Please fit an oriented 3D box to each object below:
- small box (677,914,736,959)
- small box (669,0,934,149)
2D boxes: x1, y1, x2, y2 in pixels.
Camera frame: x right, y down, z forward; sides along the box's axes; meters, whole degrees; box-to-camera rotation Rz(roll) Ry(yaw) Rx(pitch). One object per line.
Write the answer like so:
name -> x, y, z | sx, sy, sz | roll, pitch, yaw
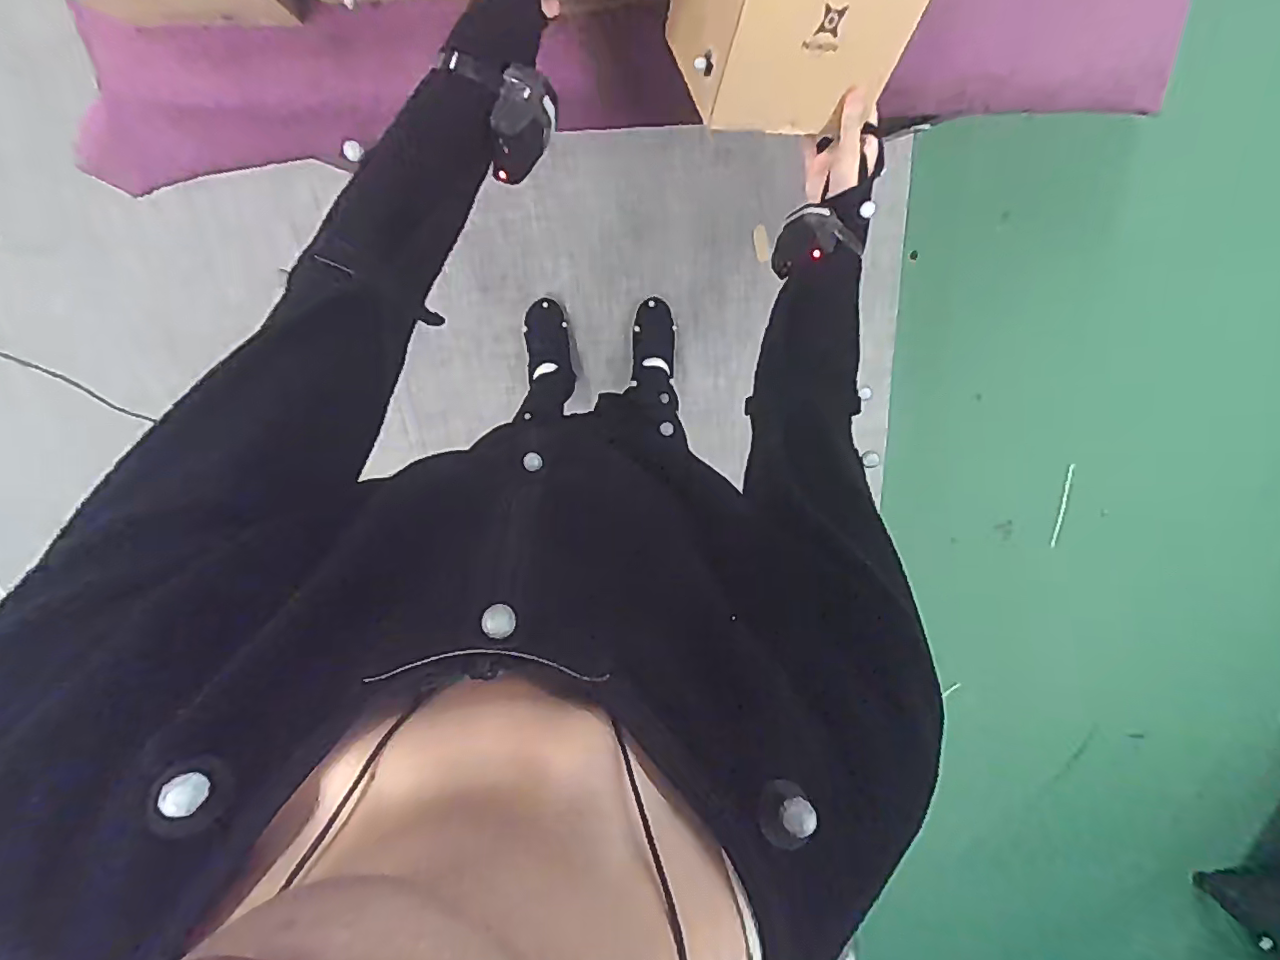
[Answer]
small box -> 0.217, 1.514, 1.692 | 0.168, 0.176, 0.179 | -10, 113, -4
small box -> 0.135, -0.434, 0.481 | 0.168, 0.176, 0.179 | -7, 156, -15
